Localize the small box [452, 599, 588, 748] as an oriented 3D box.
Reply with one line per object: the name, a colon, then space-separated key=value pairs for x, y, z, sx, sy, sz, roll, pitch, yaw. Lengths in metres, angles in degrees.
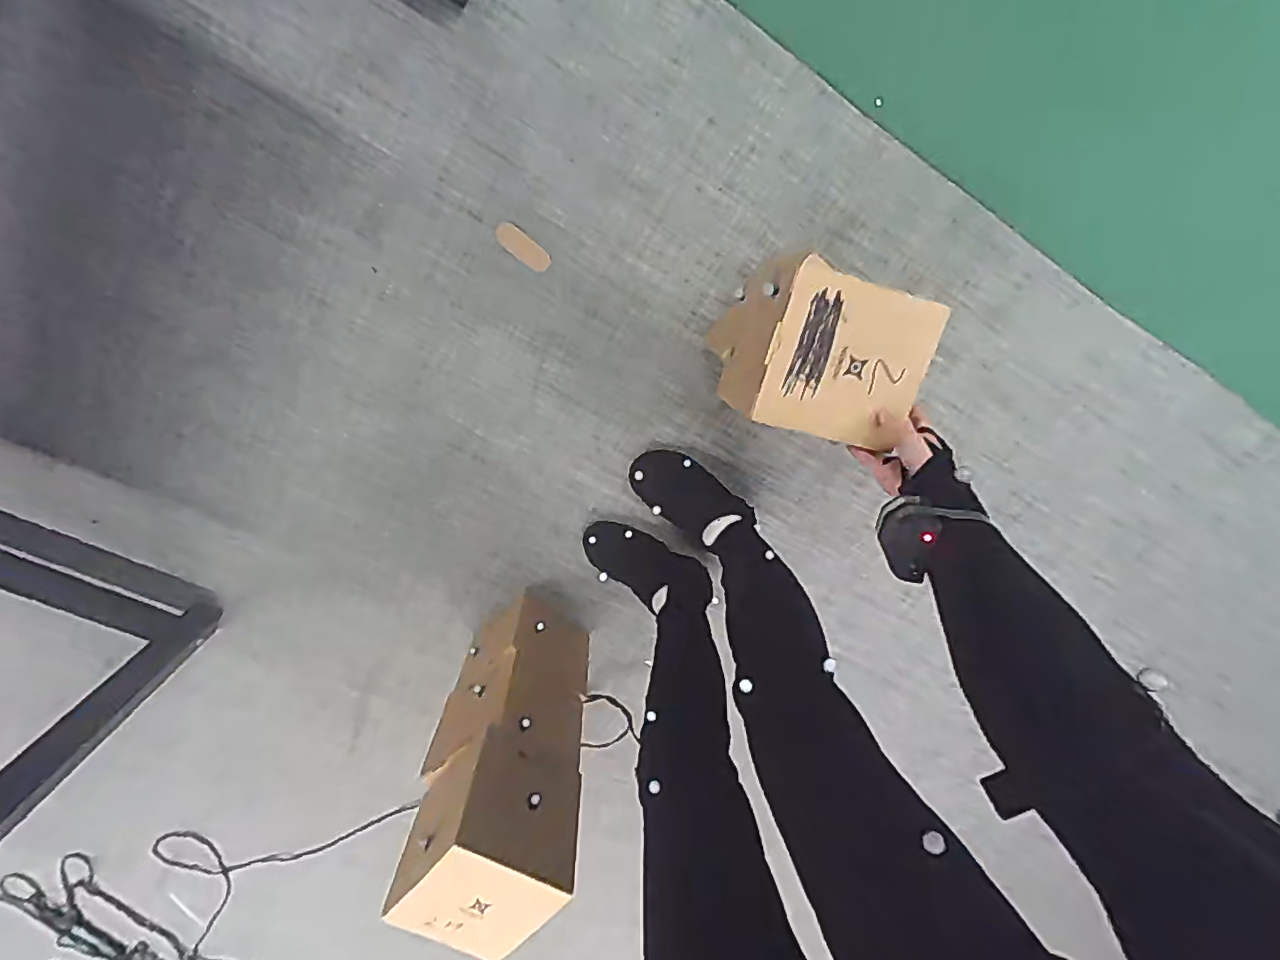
small box: x=-0.215 y=0.352 z=1.017 sx=0.168 sy=0.176 sz=0.179 roll=-42 pitch=109 yaw=14

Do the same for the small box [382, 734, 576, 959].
small box: x=-0.197 y=0.480 z=0.717 sx=0.168 sy=0.176 sz=0.179 roll=37 pitch=108 yaw=-15

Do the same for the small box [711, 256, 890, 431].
small box: x=0.222 y=-0.207 z=0.806 sx=0.168 sy=0.176 sz=0.179 roll=38 pitch=106 yaw=-17
